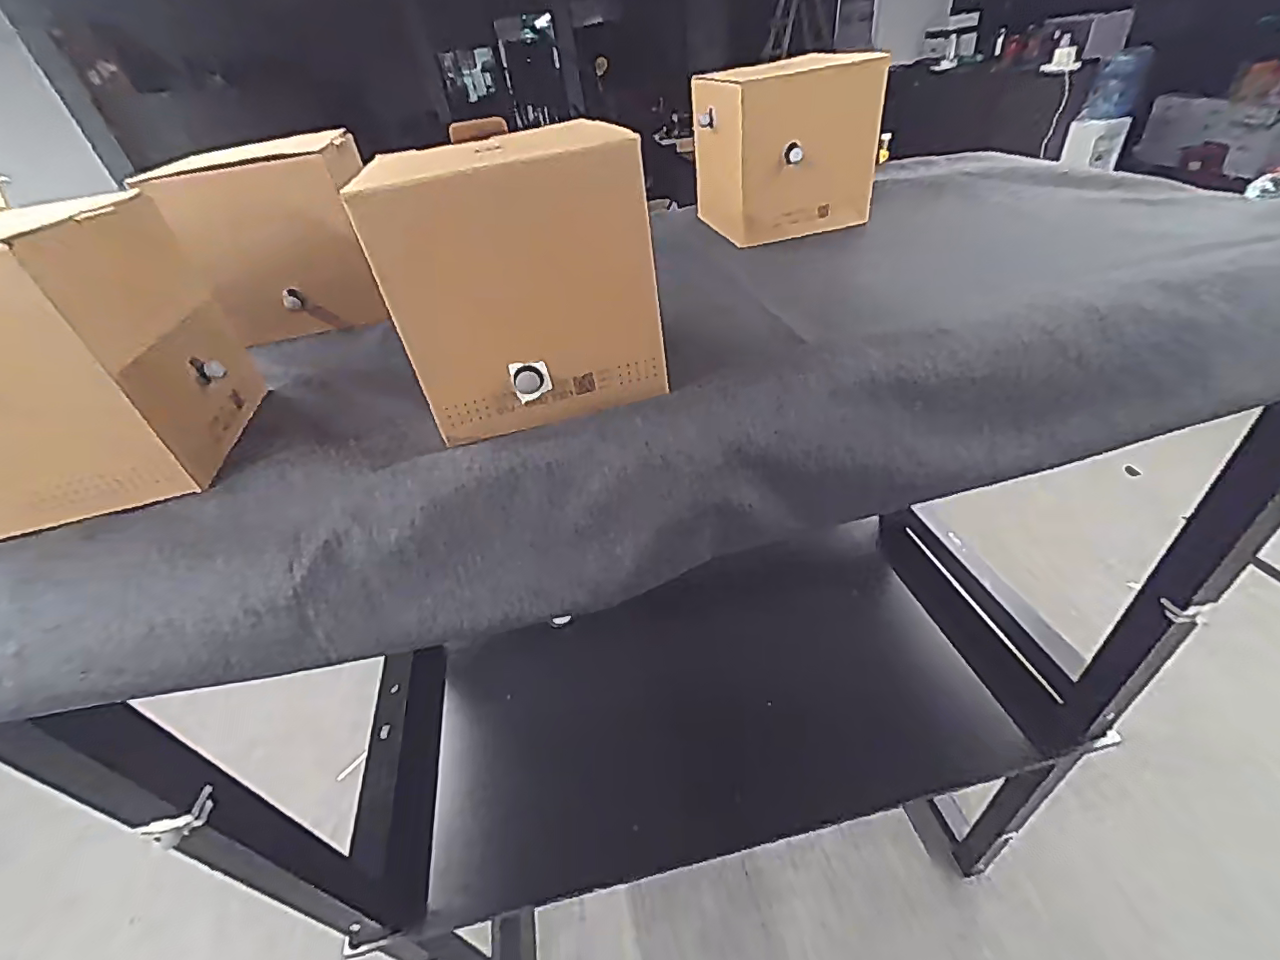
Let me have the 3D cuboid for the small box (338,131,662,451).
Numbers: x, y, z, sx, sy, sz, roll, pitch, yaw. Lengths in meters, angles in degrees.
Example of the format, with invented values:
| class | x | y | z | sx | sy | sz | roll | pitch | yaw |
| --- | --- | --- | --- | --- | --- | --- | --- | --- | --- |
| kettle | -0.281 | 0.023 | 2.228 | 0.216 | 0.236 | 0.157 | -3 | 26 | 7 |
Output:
| class | x | y | z | sx | sy | sz | roll | pitch | yaw |
| --- | --- | --- | --- | --- | --- | --- | --- | --- | --- |
| small box | -0.091 | -0.147 | 0.404 | 0.168 | 0.176 | 0.179 | -16 | 38 | -8 |

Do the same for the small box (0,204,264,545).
| class | x | y | z | sx | sy | sz | roll | pitch | yaw |
| --- | --- | --- | --- | --- | --- | --- | --- | --- | --- |
| small box | -0.413 | -0.072 | 0.372 | 0.179 | 0.176 | 0.168 | -15 | 38 | -8 |

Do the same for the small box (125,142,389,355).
| class | x | y | z | sx | sy | sz | roll | pitch | yaw |
| --- | --- | --- | --- | --- | --- | --- | --- | --- | --- |
| small box | -0.389 | -0.260 | 0.605 | 0.179 | 0.176 | 0.168 | -14 | 39 | -7 |

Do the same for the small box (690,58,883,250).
| class | x | y | z | sx | sy | sz | roll | pitch | yaw |
| --- | --- | --- | --- | --- | --- | --- | --- | --- | --- |
| small box | 0.169 | -0.397 | 0.664 | 0.168 | 0.176 | 0.179 | -14 | 39 | -5 |
